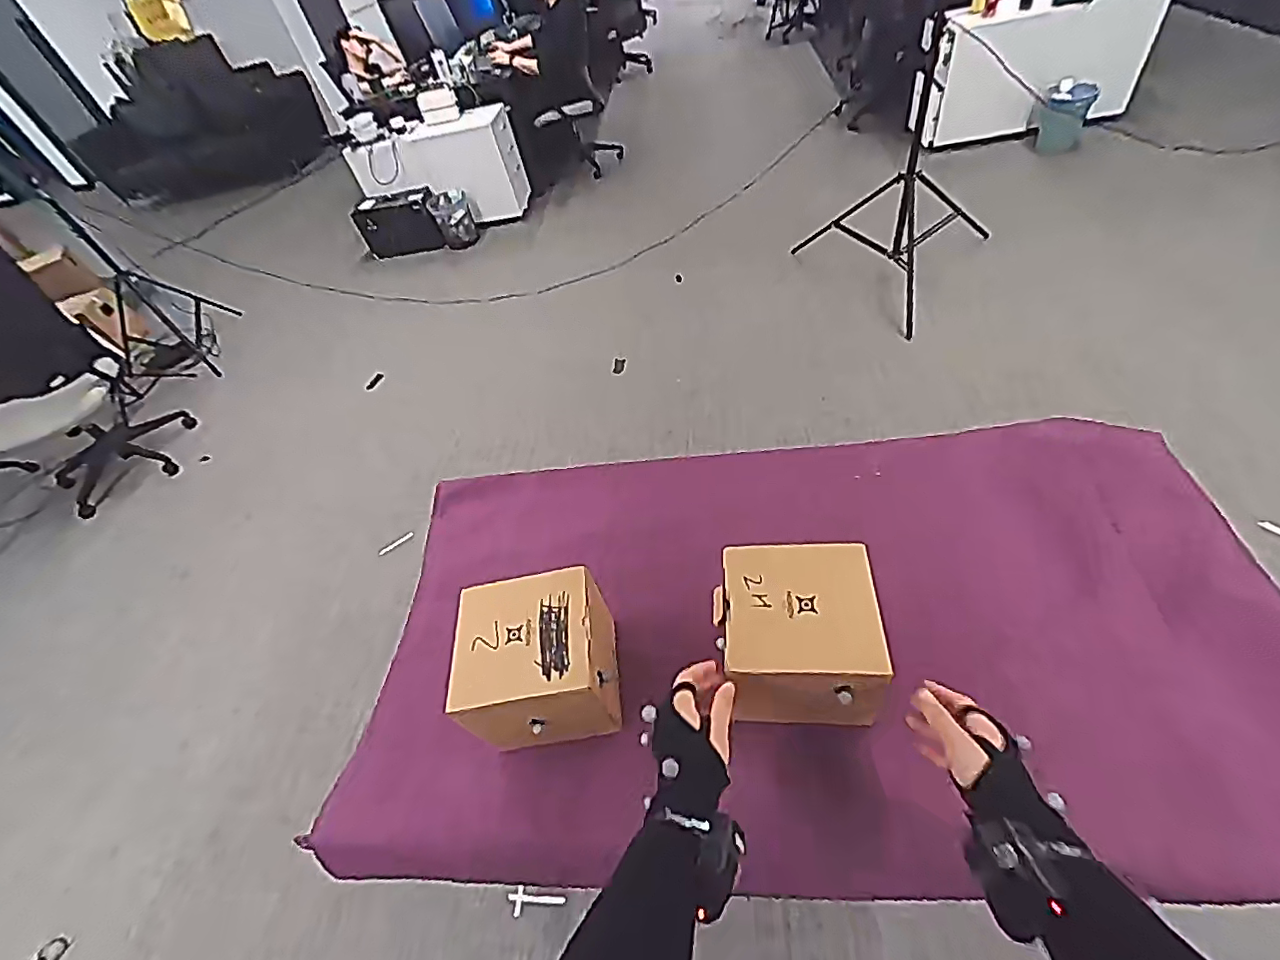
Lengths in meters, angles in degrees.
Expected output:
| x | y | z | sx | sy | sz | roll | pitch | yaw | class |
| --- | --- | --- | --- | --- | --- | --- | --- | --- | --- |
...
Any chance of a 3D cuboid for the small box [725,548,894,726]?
| x | y | z | sx | sy | sz | roll | pitch | yaw | class |
| --- | --- | --- | --- | --- | --- | --- | --- | --- | --- |
| 0.202 | 0.201 | 0.688 | 0.179 | 0.176 | 0.168 | -4 | 48 | 12 | small box |
